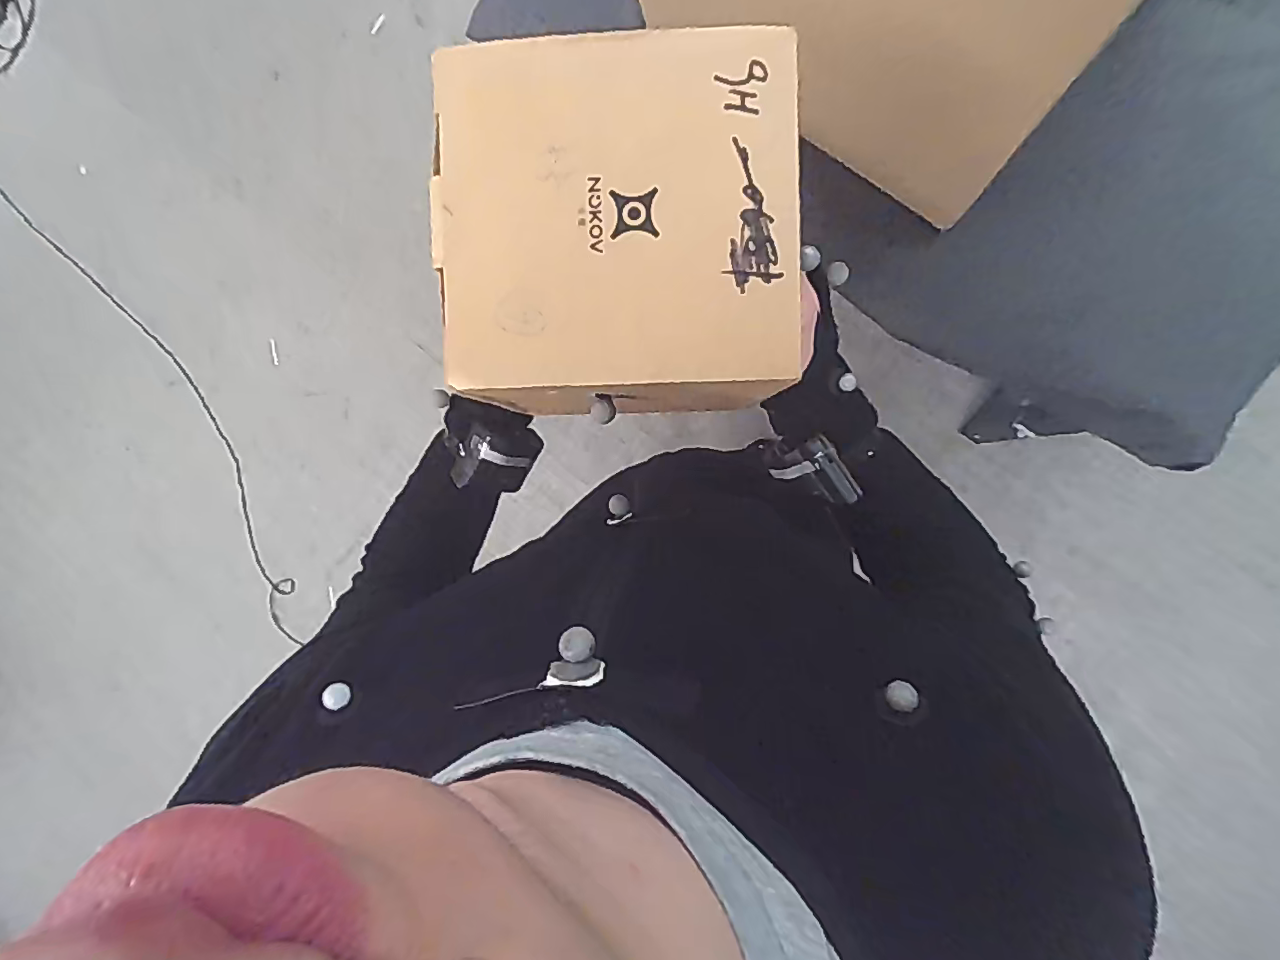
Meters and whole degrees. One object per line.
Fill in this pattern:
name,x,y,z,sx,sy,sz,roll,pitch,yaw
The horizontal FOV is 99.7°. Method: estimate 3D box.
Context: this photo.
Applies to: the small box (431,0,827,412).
small box,-0.002,-0.131,0.319,0.179,0.176,0.168,-2,92,2
